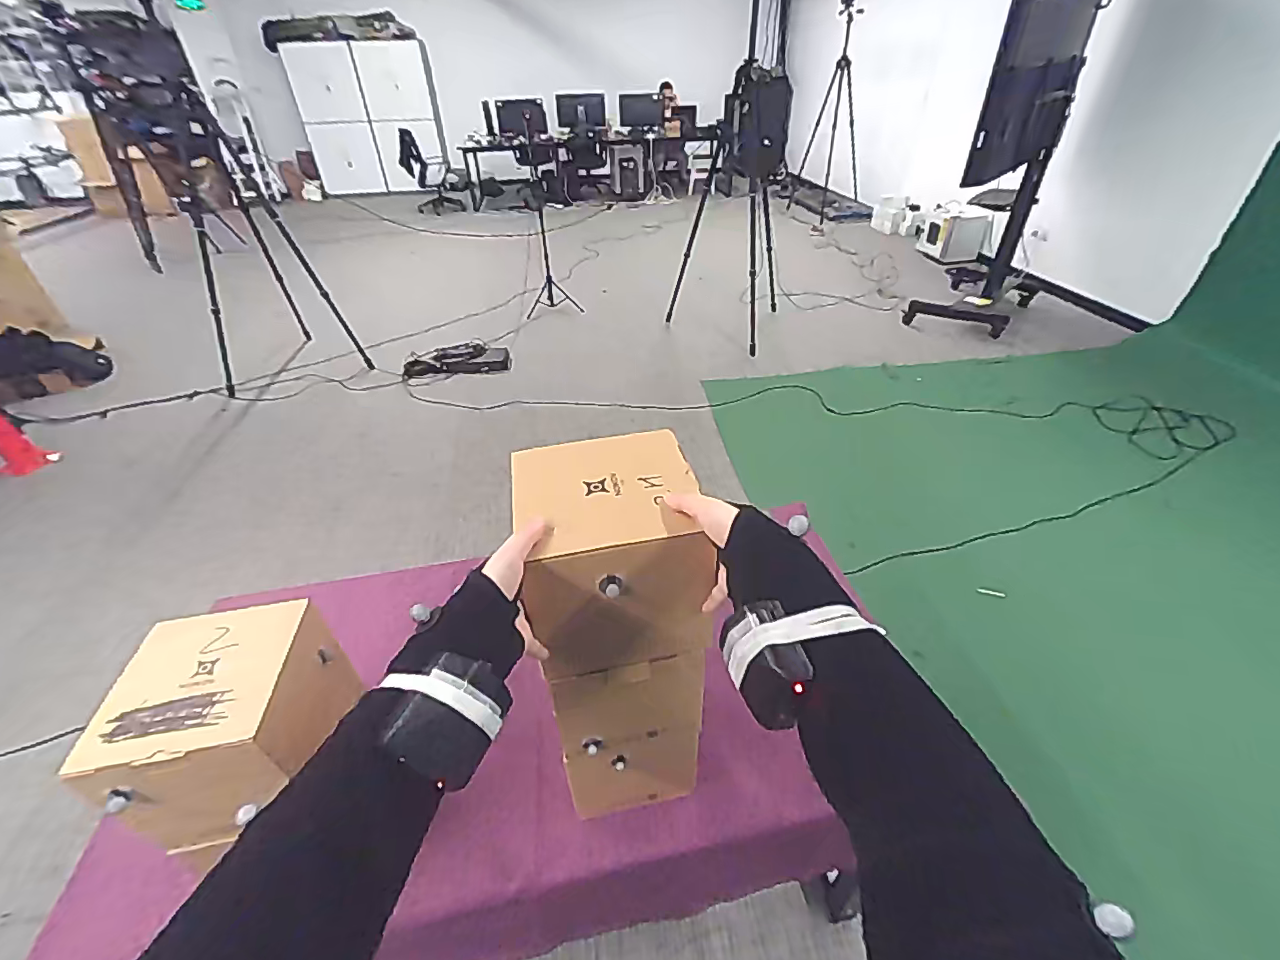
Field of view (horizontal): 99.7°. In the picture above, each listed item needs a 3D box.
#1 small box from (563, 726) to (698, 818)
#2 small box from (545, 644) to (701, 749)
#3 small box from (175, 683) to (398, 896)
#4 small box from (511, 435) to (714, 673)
[{"bbox_3d":[-0.021,0.335,0.762,0.168,0.176,0.179,-10,37,-7],"label":"small box"},{"bbox_3d":[-0.026,0.204,0.663,0.168,0.176,0.179,-9,37,-8],"label":"small box"},{"bbox_3d":[-0.433,0.399,0.703,0.168,0.176,0.179,-8,39,-6],"label":"small box"},{"bbox_3d":[-0.030,0.076,0.560,0.179,0.176,0.168,-8,39,-7],"label":"small box"}]
